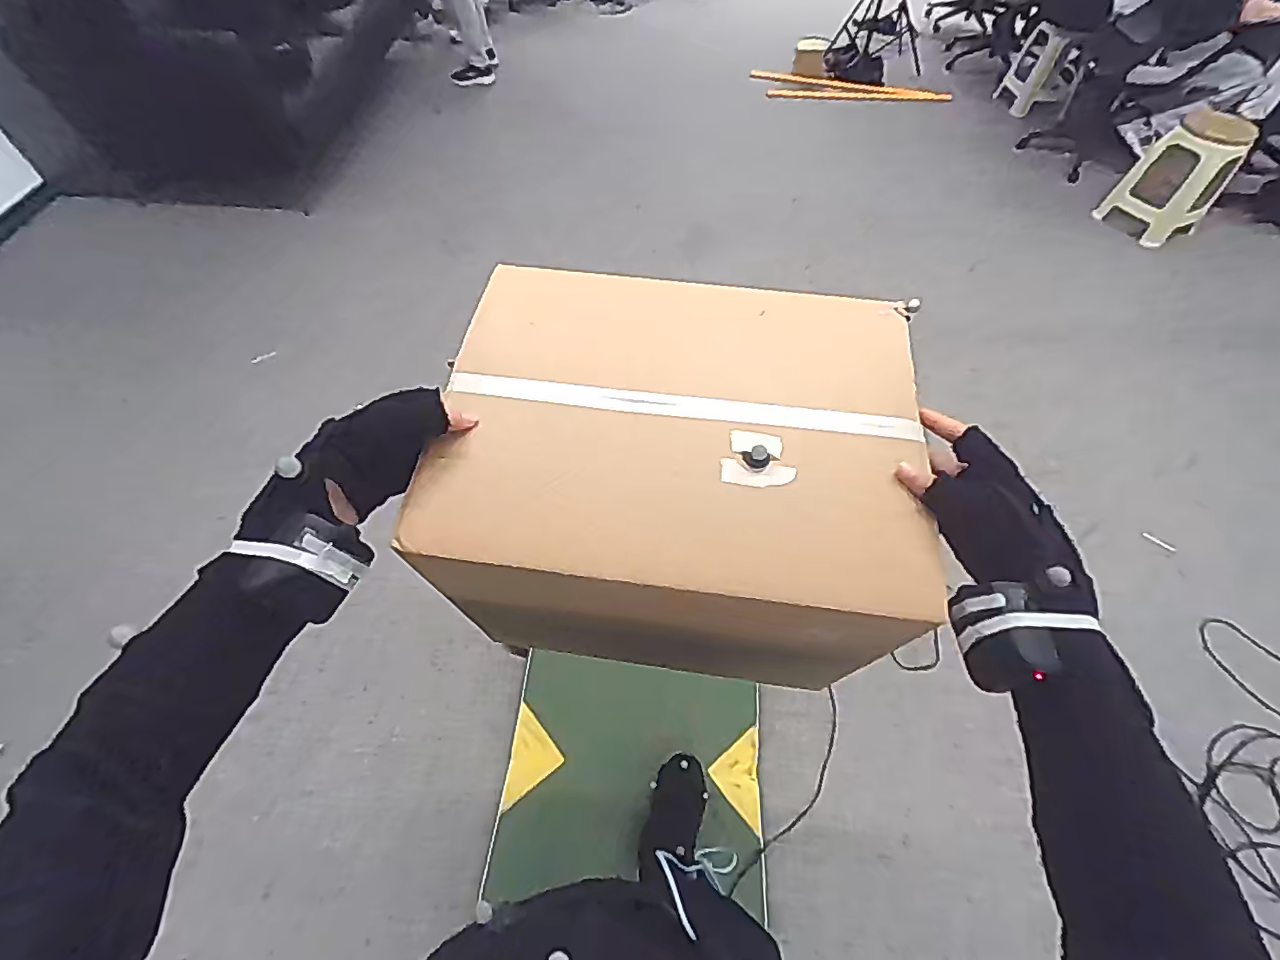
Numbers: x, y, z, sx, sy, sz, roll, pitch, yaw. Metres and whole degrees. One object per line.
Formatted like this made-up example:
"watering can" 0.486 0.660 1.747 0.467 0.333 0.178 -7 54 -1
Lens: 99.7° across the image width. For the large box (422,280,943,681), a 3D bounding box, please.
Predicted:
"large box" 0.042 0.017 0.606 0.408 0.320 0.320 7 61 3
